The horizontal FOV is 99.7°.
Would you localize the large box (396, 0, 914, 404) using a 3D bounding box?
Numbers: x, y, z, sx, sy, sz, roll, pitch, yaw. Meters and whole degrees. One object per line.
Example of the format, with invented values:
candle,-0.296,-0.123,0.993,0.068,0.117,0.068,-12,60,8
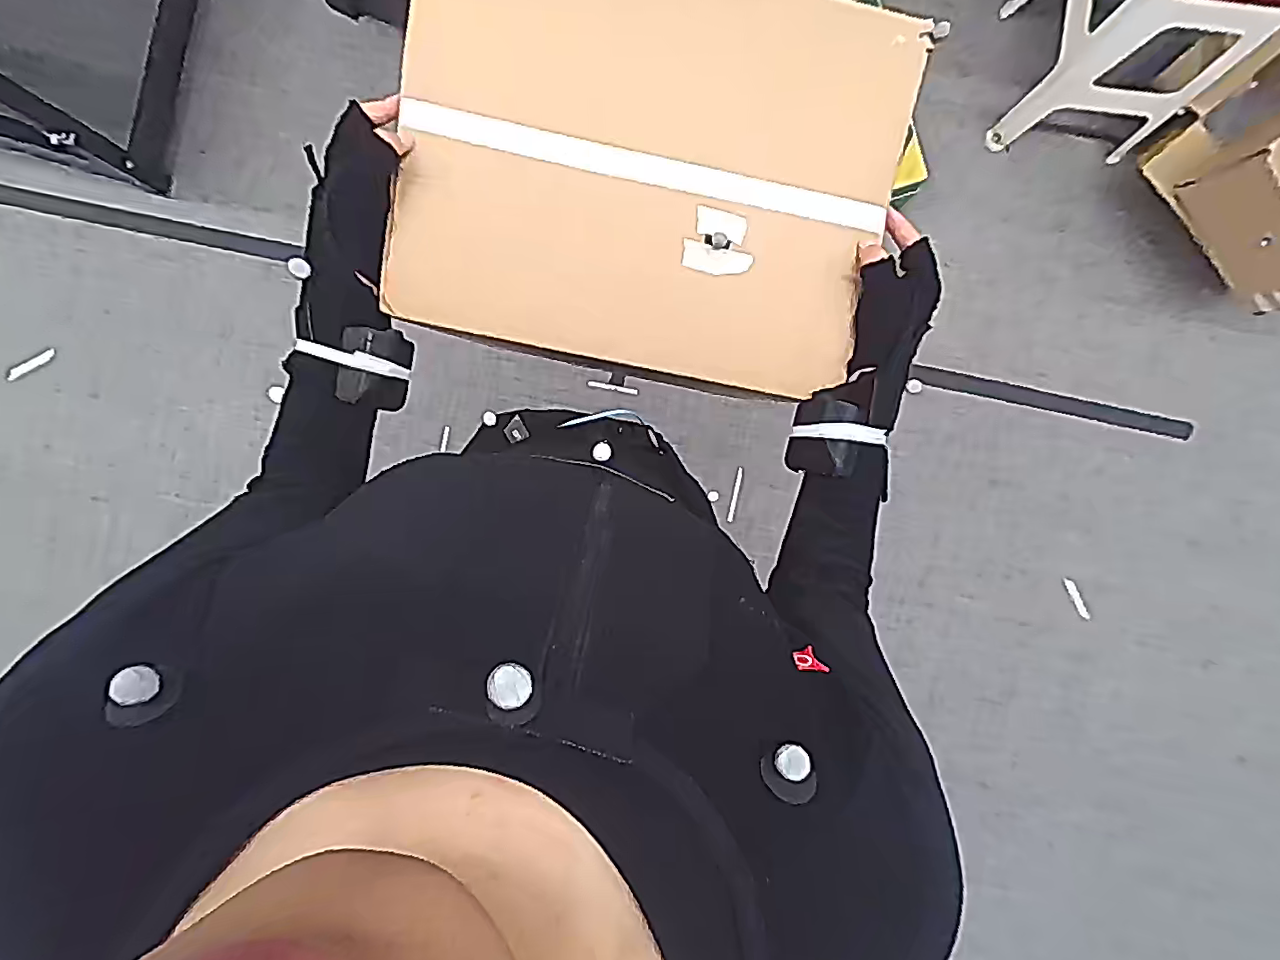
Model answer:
large box,-0.001,-0.275,0.604,0.408,0.320,0.320,11,100,-5
